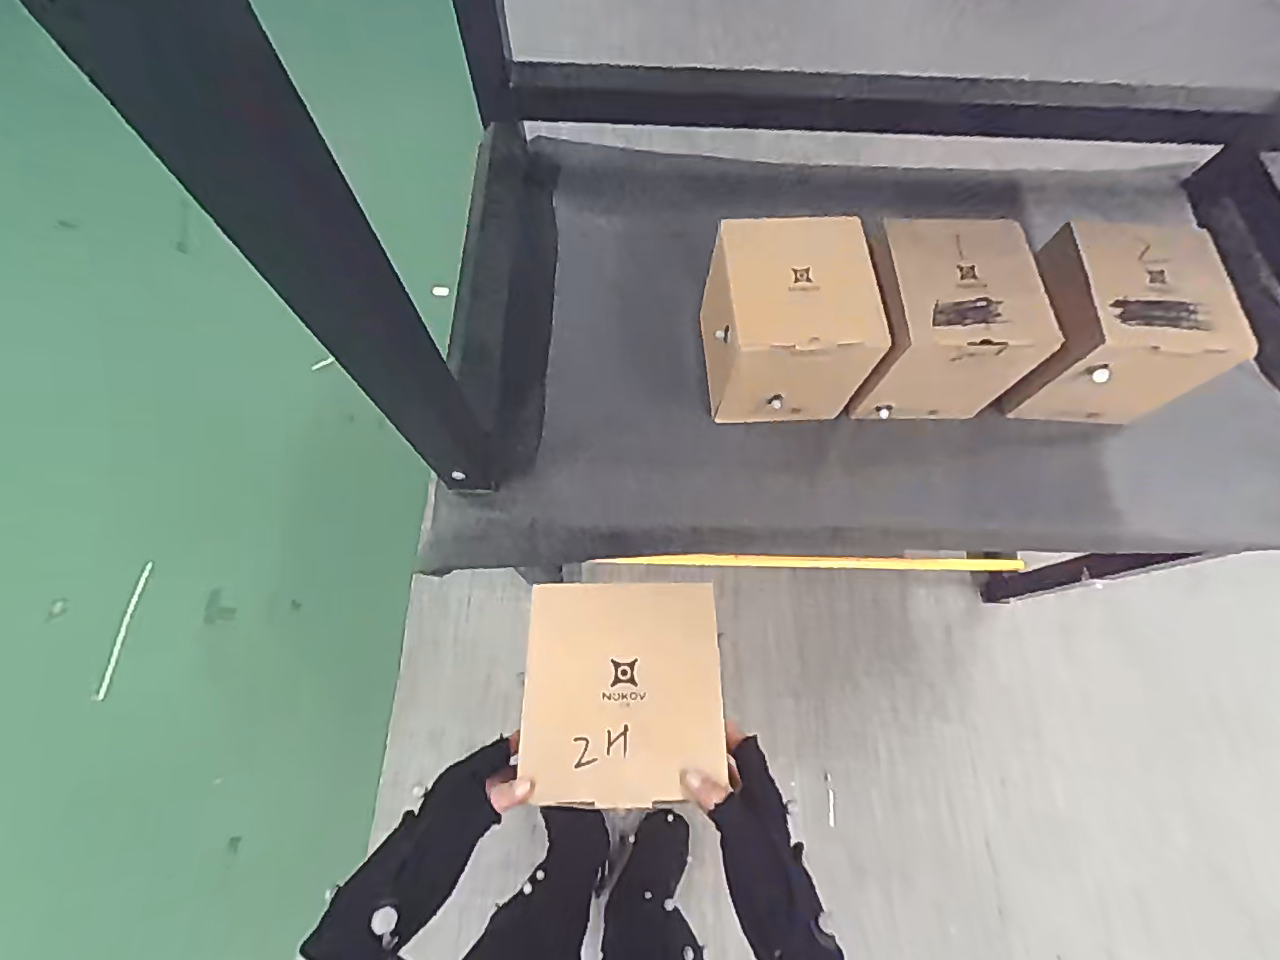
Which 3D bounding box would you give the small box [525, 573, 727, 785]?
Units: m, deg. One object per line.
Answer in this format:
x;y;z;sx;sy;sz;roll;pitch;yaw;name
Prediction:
-0.012;0.204;0.542;0.168;0.176;0.179;0;62;0;small box
